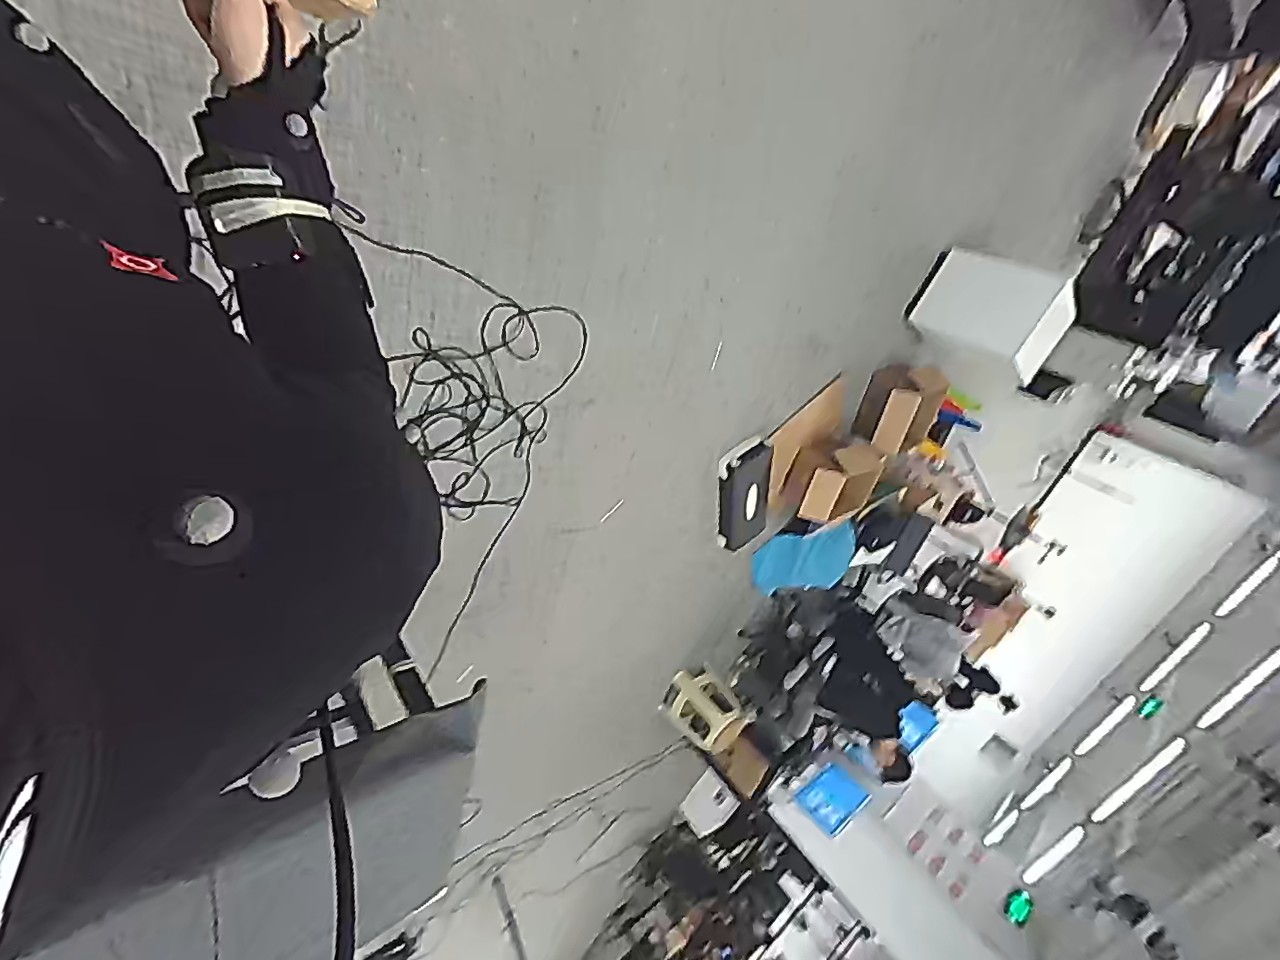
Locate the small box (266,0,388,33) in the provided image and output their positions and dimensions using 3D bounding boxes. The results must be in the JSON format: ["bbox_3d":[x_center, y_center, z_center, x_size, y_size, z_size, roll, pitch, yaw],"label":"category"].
[{"bbox_3d":[-0.258,-0.437,0.351,0.168,0.176,0.179,1,121,-42],"label":"small box"}]
